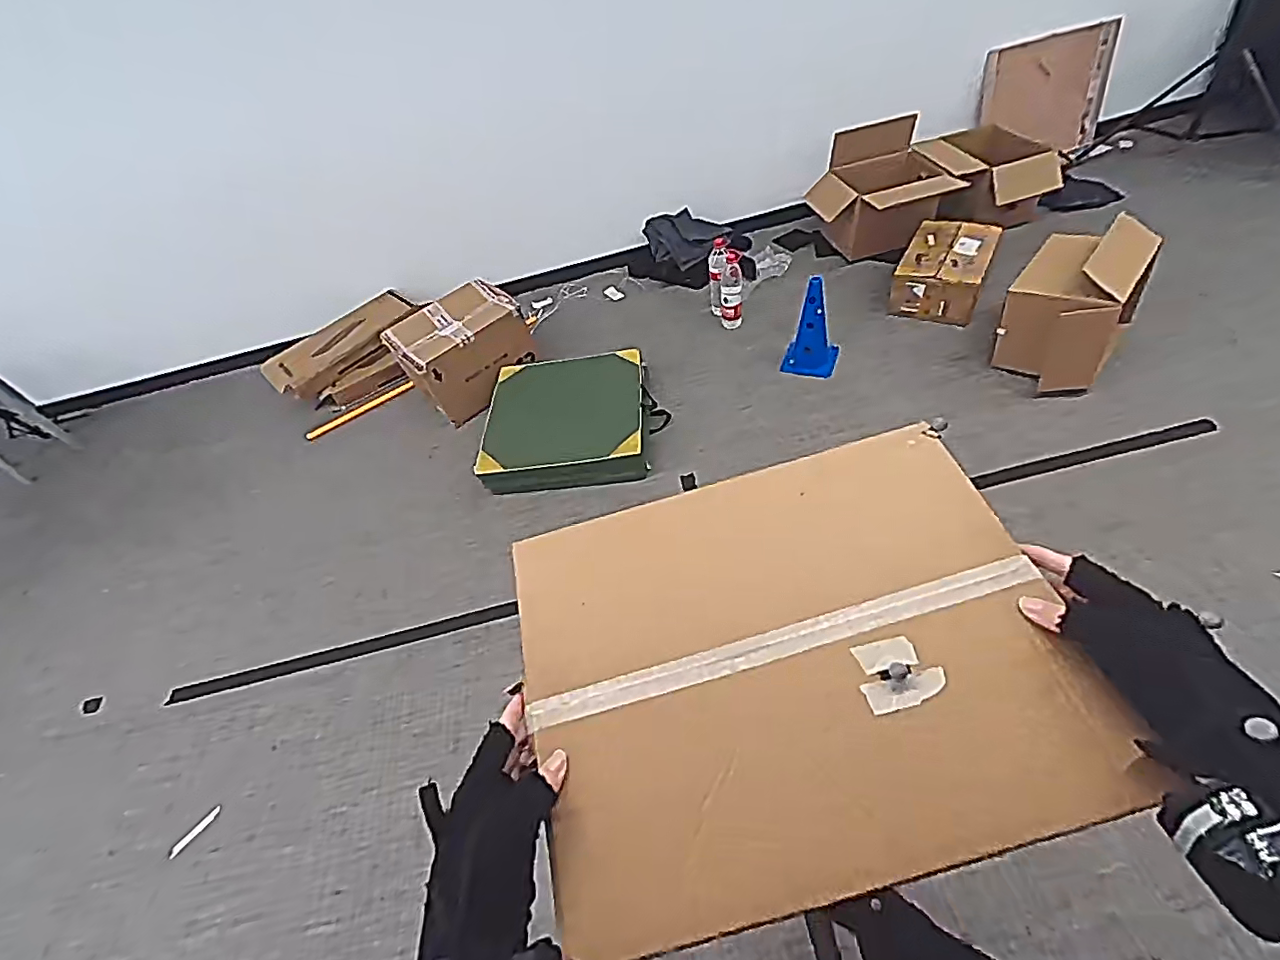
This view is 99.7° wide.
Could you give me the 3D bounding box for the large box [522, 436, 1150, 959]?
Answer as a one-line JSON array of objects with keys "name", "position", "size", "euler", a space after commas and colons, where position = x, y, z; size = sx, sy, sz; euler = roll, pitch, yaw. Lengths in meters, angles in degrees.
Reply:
[{"name": "large box", "position": [0.134, 0.215, 0.557], "size": [0.408, 0.320, 0.320], "euler": [-17, 56, 0]}]
